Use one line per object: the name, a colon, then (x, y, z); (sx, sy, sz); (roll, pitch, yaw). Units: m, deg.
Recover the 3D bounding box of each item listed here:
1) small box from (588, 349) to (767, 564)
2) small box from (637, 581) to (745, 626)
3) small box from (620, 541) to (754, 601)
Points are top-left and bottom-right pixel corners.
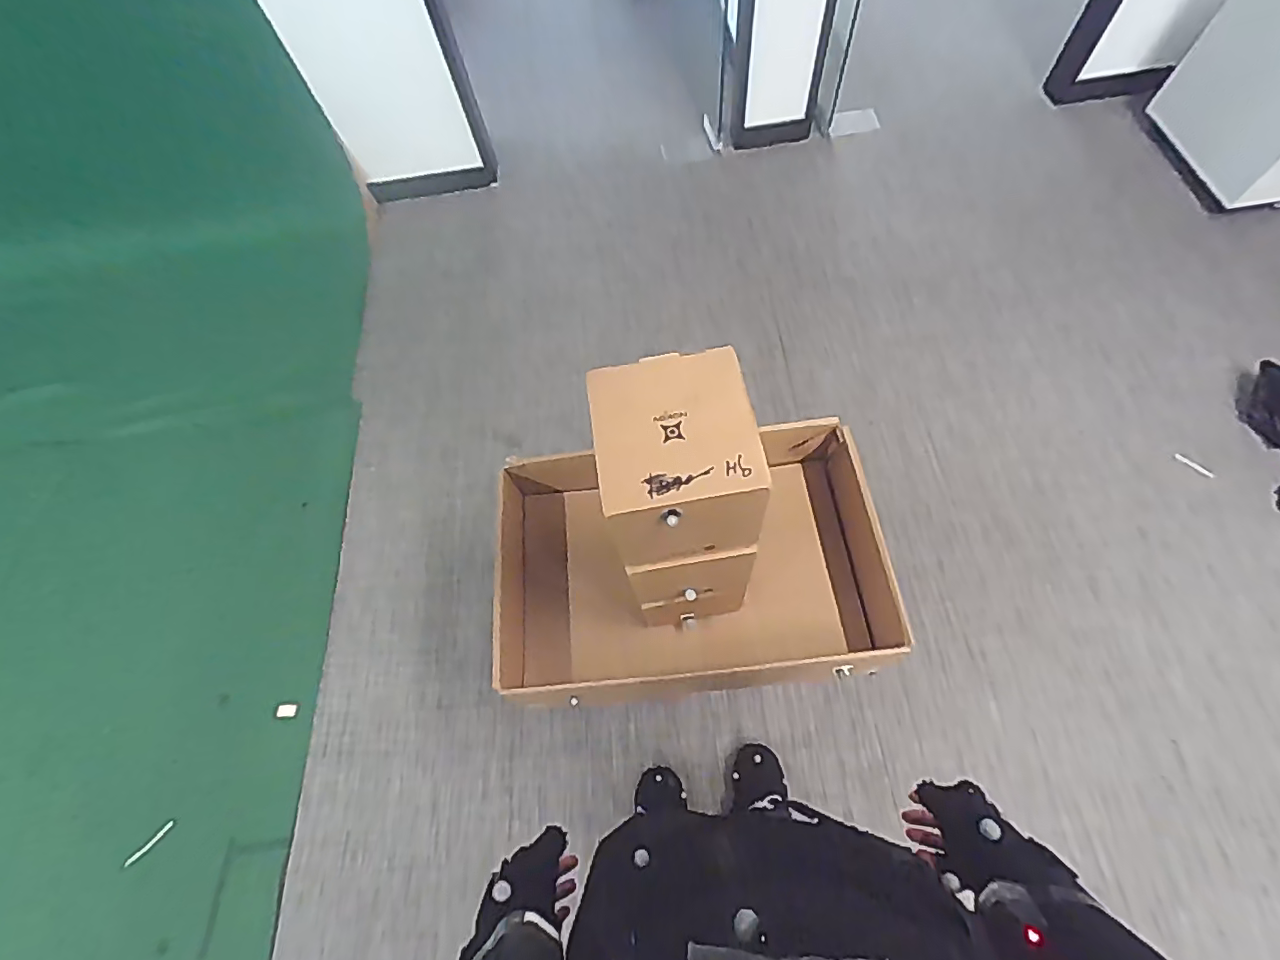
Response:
small box: (0.040, -0.020, 0.627); (0.168, 0.176, 0.179); (-10, 62, 3)
small box: (0.072, 0.133, 0.915); (0.168, 0.176, 0.179); (-11, 64, 1)
small box: (0.057, 0.059, 0.769); (0.168, 0.176, 0.179); (-10, 64, 2)
